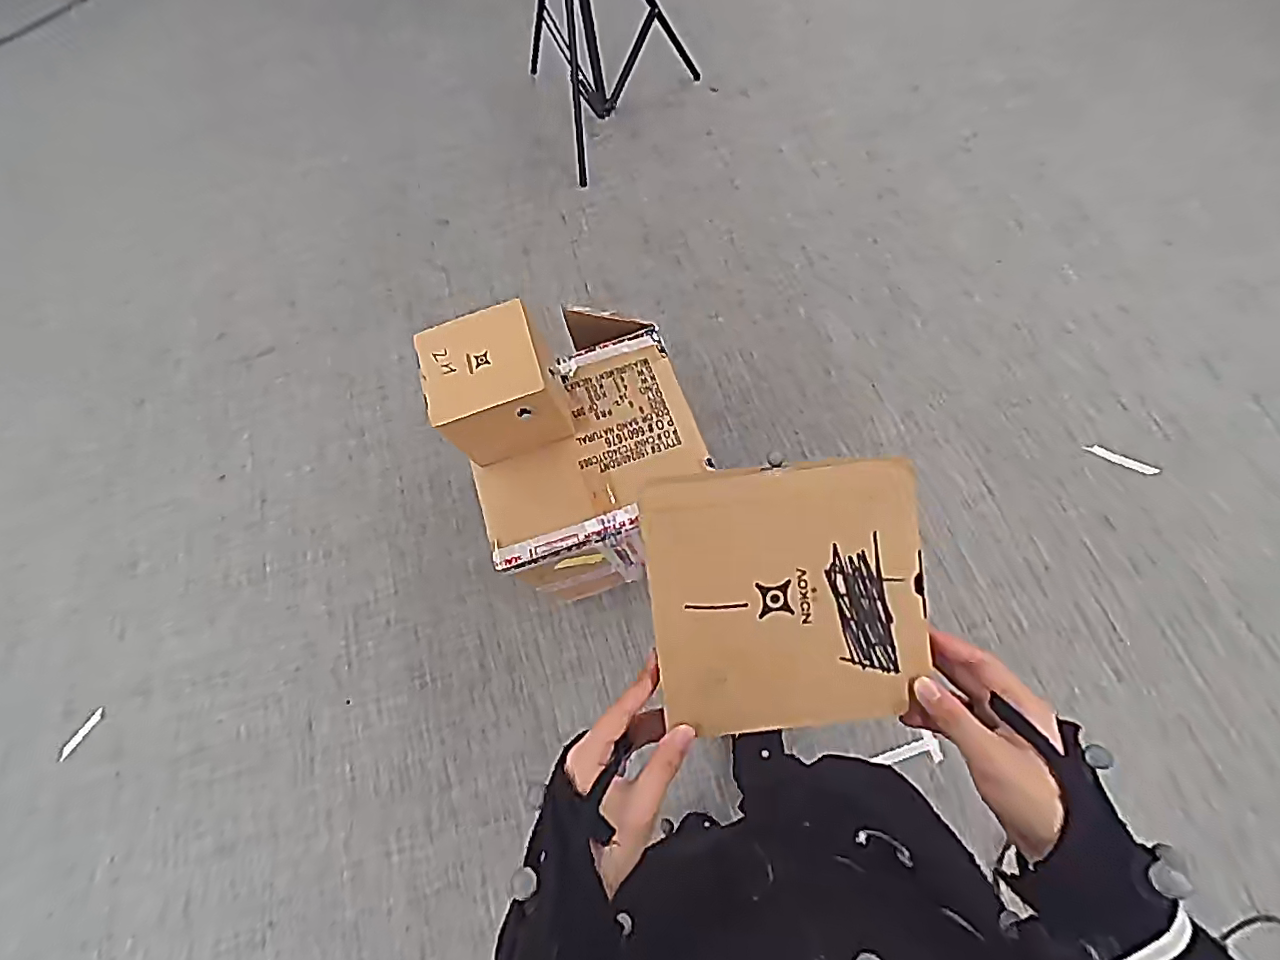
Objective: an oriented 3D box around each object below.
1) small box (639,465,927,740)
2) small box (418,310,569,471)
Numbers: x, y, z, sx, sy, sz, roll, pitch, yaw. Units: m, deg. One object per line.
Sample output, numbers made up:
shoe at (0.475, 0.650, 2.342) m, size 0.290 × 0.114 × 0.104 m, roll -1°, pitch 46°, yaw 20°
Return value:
small box at (0.093, 0.078, 0.430) m, size 0.179 × 0.176 × 0.168 m, roll -7°, pitch 91°, yaw 1°
small box at (-0.224, -0.135, 0.870) m, size 0.179 × 0.176 × 0.168 m, roll -19°, pitch 70°, yaw 3°
